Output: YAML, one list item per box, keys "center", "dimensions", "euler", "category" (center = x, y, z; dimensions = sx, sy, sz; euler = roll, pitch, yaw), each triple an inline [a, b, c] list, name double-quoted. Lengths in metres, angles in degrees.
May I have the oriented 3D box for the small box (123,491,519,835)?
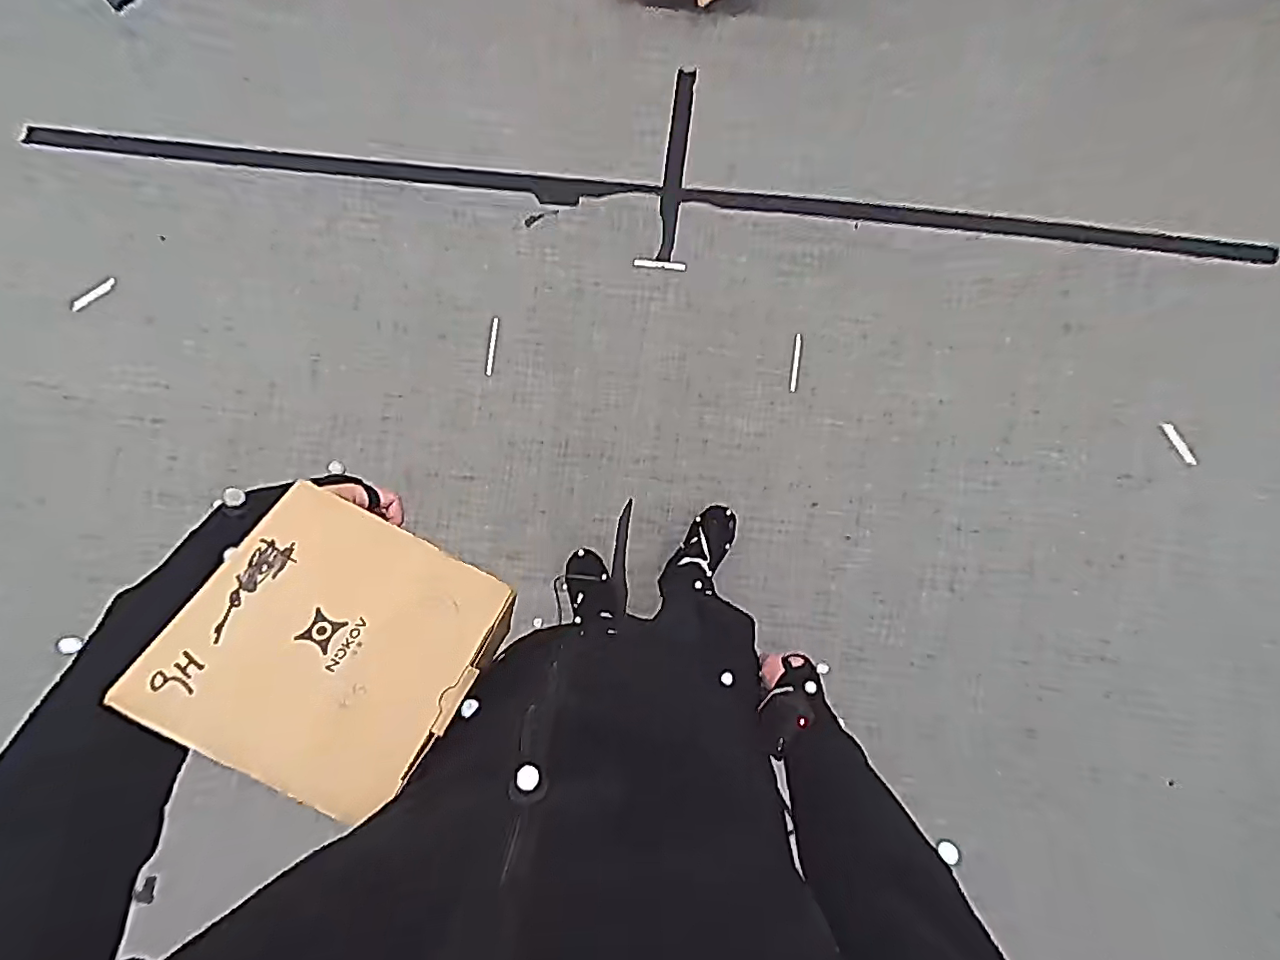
- center: [-0.216, 0.141, 0.427]
  dimensions: [0.179, 0.176, 0.168]
  euler: [28, 61, -2]
  category: "small box"
